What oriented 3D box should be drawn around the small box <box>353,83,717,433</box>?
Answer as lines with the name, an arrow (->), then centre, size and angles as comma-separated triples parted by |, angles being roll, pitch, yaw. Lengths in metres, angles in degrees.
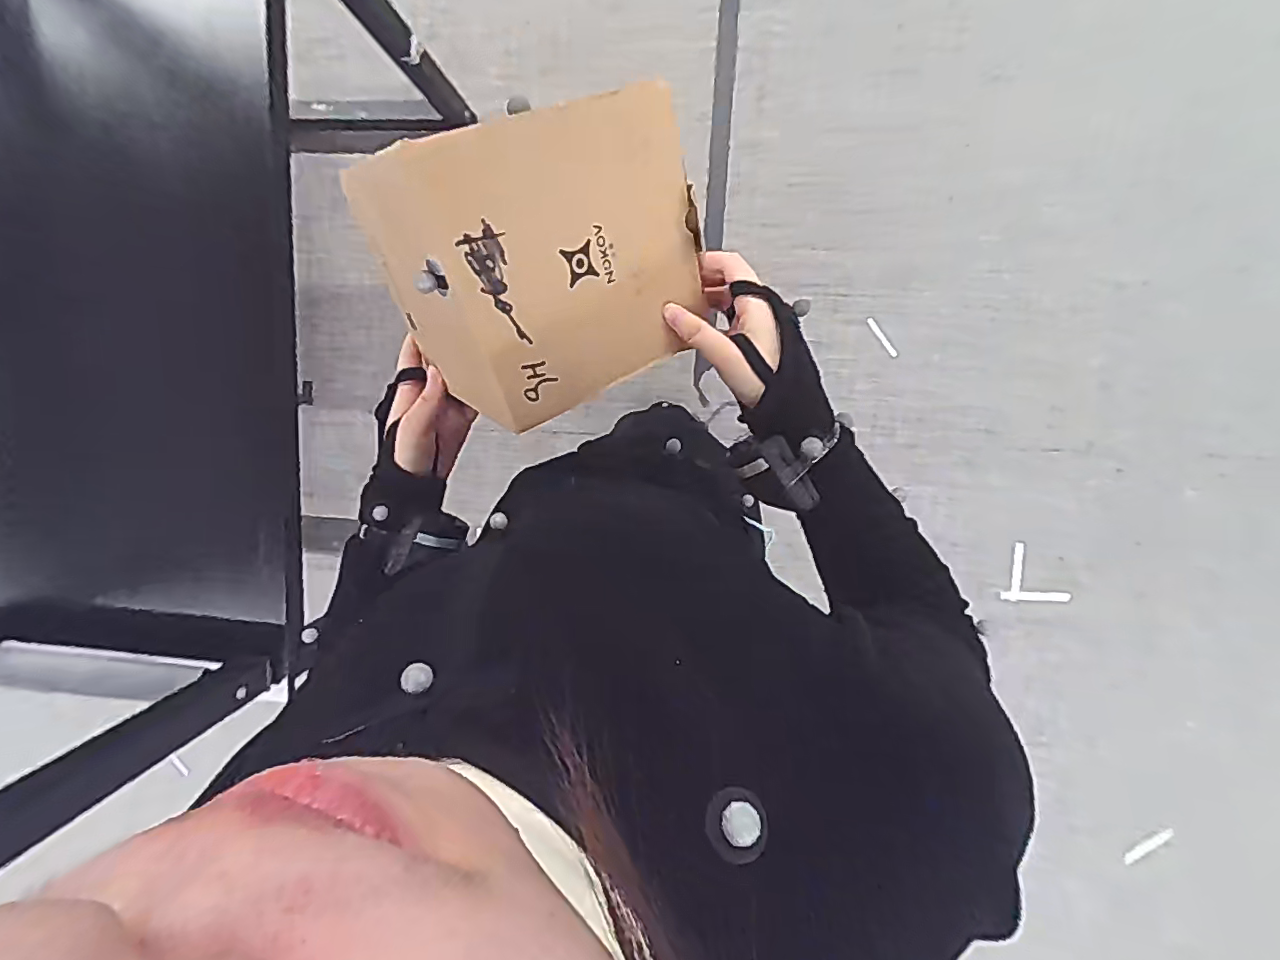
small box -> -0.073, -0.159, 0.391 | 0.179, 0.176, 0.168 | -31, 124, -24
